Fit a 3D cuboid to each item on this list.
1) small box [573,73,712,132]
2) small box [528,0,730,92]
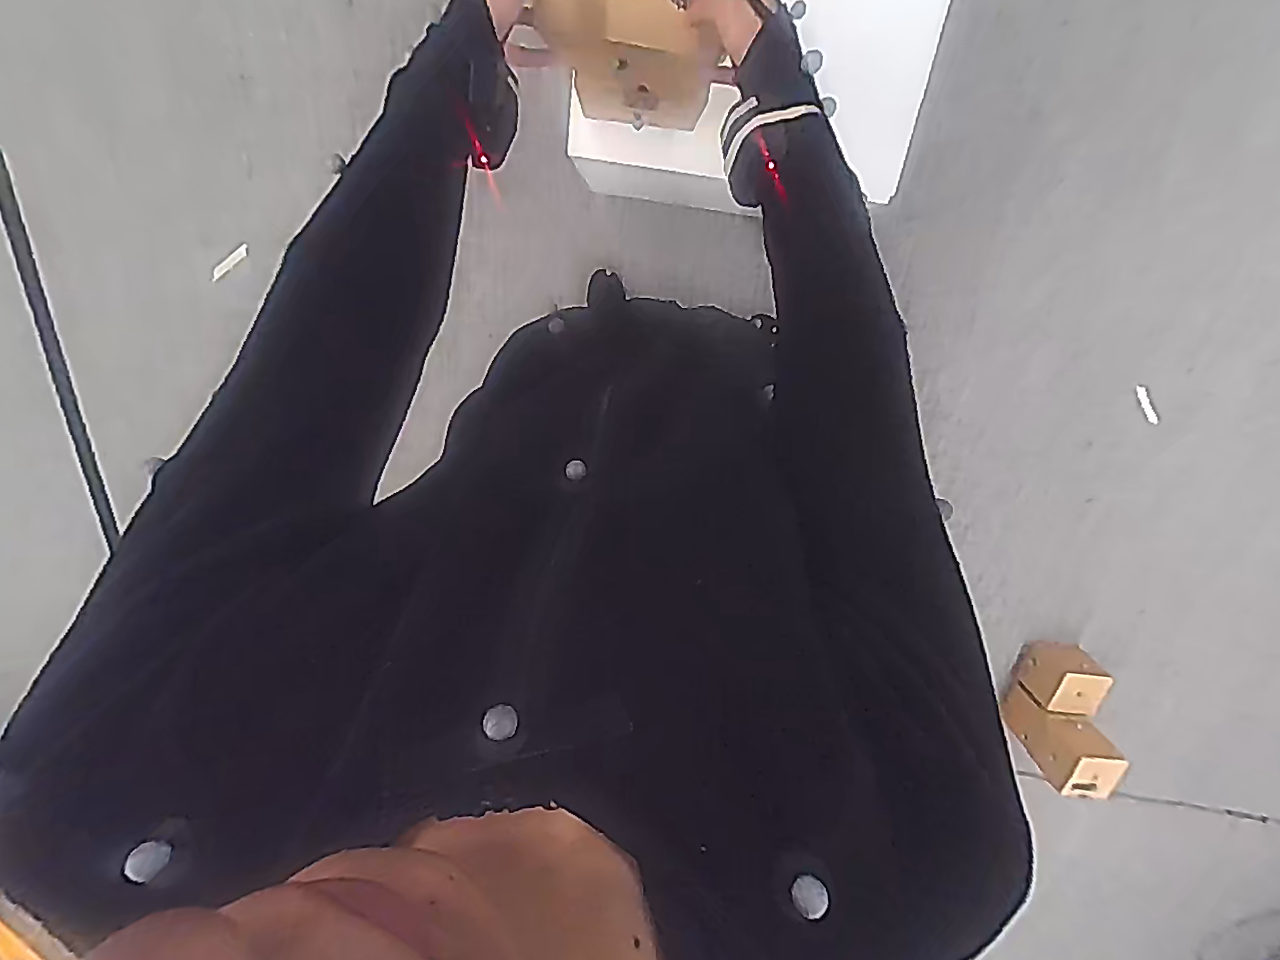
[{"bbox_3d":[0.010,-0.569,0.686,0.168,0.176,0.179,6,113,-2],"label":"small box"},{"bbox_3d":[0.000,-0.497,0.523,0.179,0.176,0.168,9,117,-1],"label":"small box"}]
